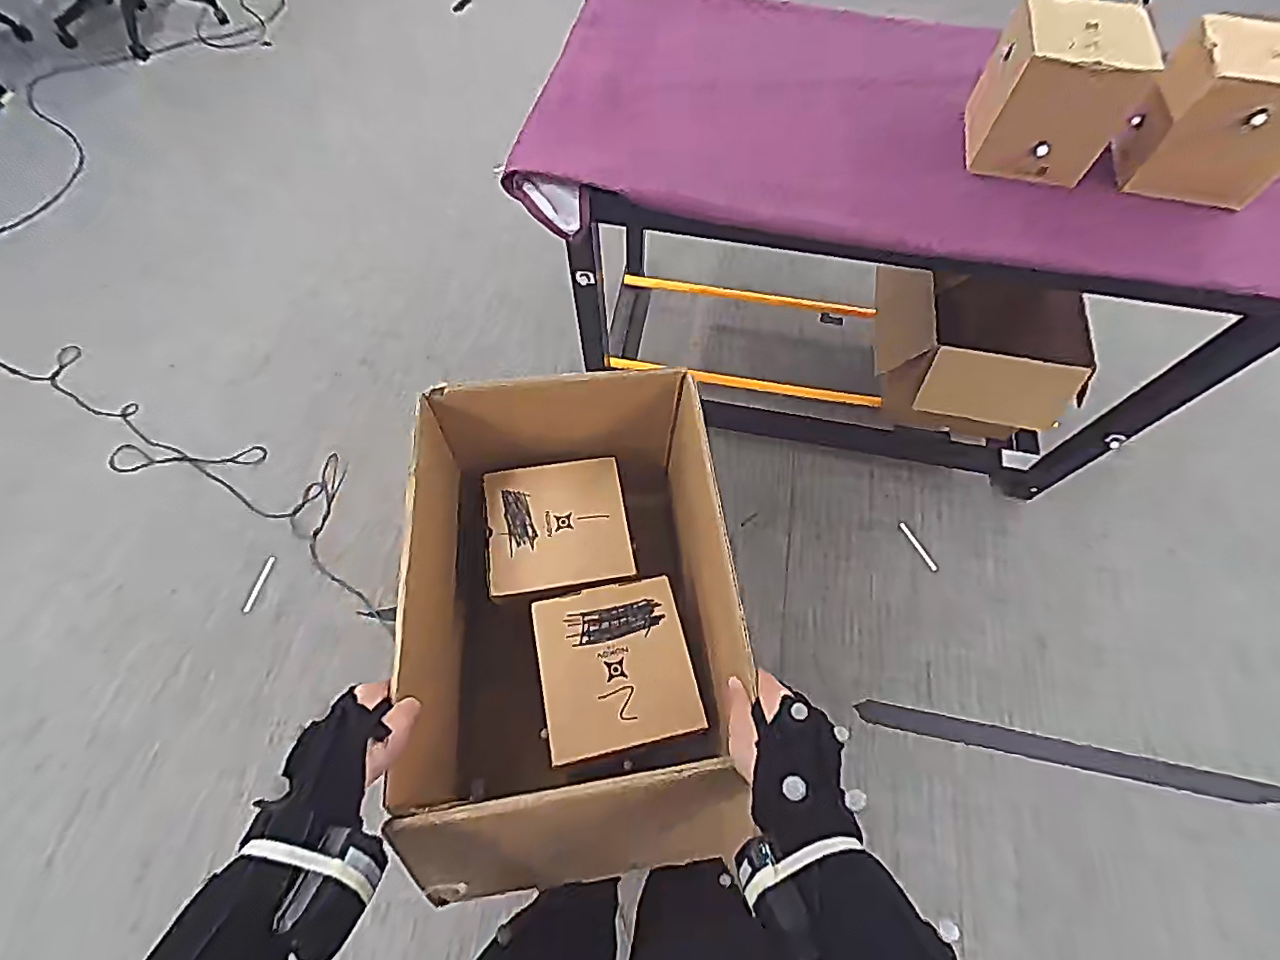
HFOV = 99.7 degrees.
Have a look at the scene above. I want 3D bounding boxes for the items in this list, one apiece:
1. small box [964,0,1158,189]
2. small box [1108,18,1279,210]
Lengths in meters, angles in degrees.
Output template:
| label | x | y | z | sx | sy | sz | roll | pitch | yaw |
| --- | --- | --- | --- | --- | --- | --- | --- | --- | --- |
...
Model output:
| label | x | y | z | sx | sy | sz | roll | pitch | yaw |
| --- | --- | --- | --- | --- | --- | --- | --- | --- | --- |
| small box | 0.622 | -0.585 | 0.827 | 0.168 | 0.176 | 0.179 | 12 | 65 | 6 |
| small box | 0.857 | -0.536 | 0.806 | 0.179 | 0.176 | 0.168 | 14 | 64 | 7 |
